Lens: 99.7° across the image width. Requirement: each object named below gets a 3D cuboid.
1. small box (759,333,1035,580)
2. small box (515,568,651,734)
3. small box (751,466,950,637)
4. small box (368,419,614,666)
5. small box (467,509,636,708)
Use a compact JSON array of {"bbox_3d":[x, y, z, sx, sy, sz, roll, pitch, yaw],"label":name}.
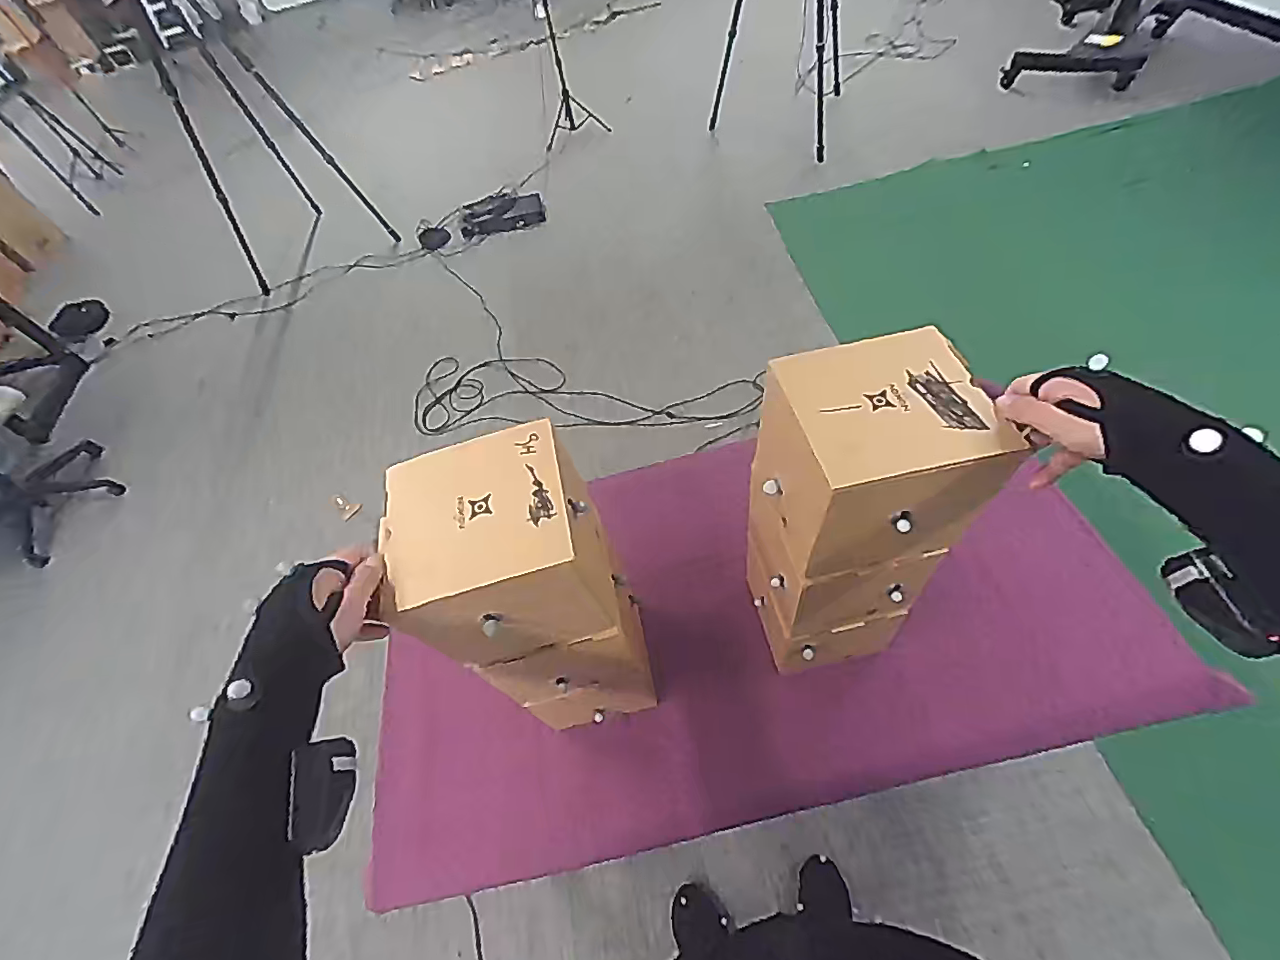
[{"bbox_3d":[0.232,-0.018,0.547,0.179,0.176,0.168,-11,53,-1],"label":"small box"},{"bbox_3d":[-0.085,0.259,0.813,0.168,0.176,0.179,-13,54,1],"label":"small box"},{"bbox_3d":[0.244,0.082,0.679,0.168,0.176,0.179,-13,53,-1],"label":"small box"},{"bbox_3d":[-0.140,0.071,0.549,0.179,0.176,0.168,-16,55,2],"label":"small box"},{"bbox_3d":[-0.109,0.165,0.683,0.168,0.176,0.179,-14,55,0],"label":"small box"}]
